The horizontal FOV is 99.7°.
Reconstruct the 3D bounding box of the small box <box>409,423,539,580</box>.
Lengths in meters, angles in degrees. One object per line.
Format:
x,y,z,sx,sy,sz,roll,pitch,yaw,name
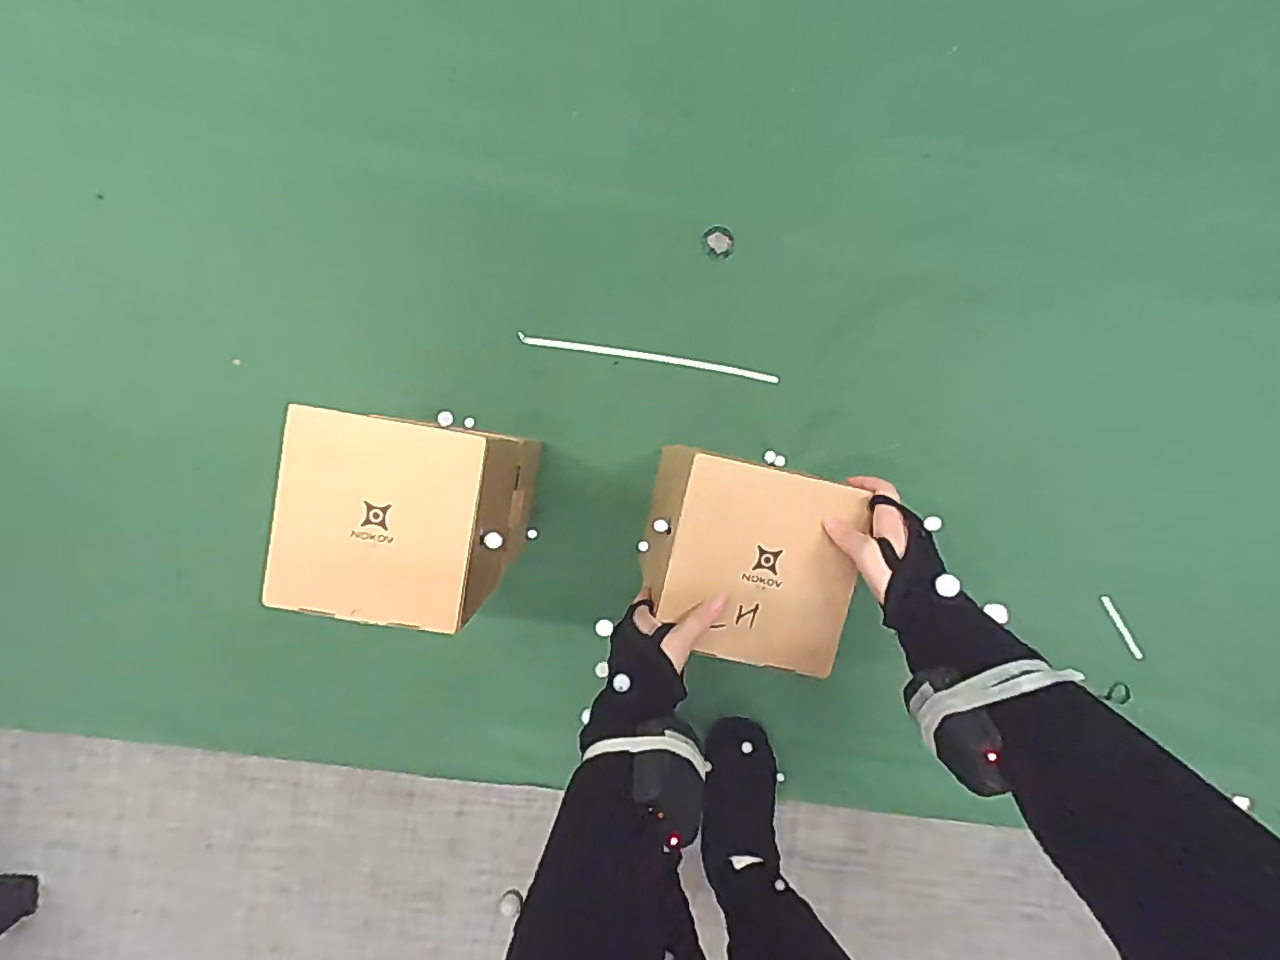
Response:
-0.236,0.018,0.702,0.179,0.176,0.168,9,93,-2,small box

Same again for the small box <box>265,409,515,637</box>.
-0.228,0.033,0.540,0.168,0.176,0.179,9,94,-3,small box

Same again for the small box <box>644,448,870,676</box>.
0.101,0.068,0.553,0.168,0.176,0.179,13,95,-3,small box
